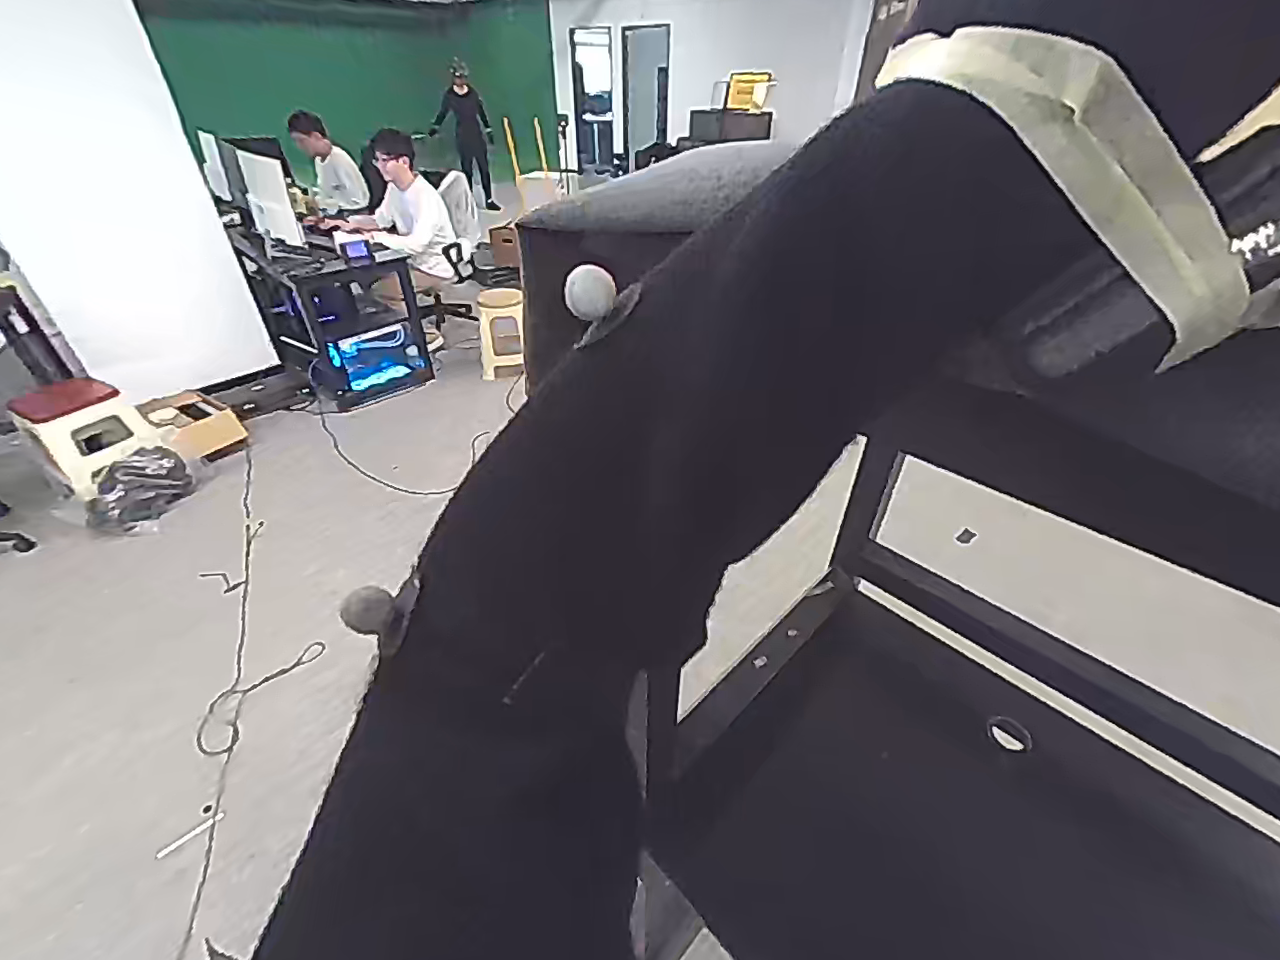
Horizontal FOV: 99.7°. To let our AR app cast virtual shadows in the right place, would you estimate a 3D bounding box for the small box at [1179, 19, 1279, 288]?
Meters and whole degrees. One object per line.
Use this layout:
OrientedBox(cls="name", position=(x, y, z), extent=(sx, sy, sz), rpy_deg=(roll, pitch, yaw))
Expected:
OrientedBox(cls="small box", position=(0.301, -0.140, 0.150), extent=(0.168, 0.176, 0.179), rpy_deg=(24, 42, 28))
